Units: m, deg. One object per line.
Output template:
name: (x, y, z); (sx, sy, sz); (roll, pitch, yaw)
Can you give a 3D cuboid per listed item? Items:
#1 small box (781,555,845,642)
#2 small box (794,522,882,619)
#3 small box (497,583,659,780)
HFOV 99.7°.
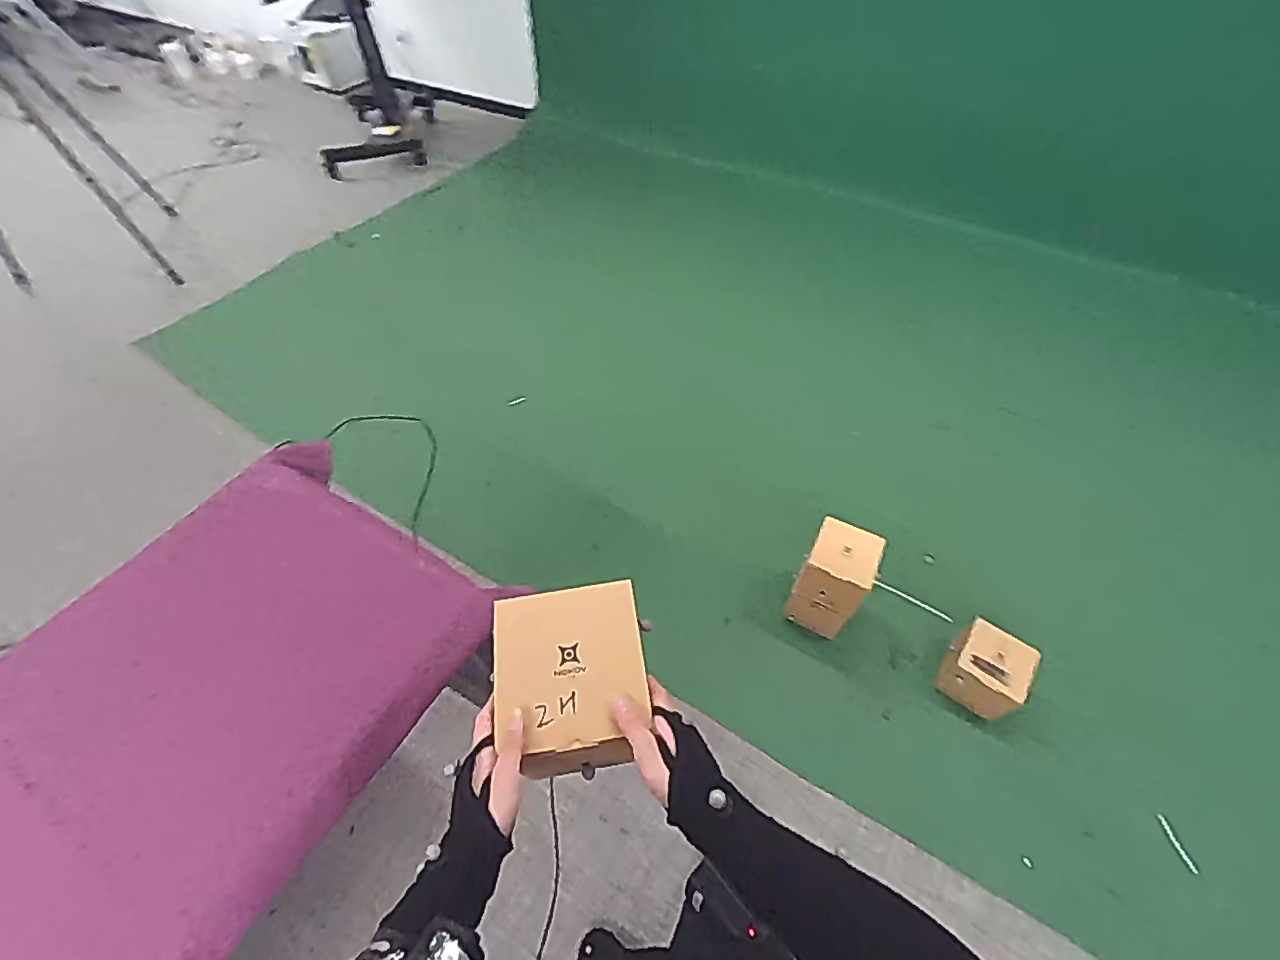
small box: (0.541, 0.359, 1.639); (0.168, 0.176, 0.179); (24, 55, 18)
small box: (0.548, 0.255, 1.514); (0.168, 0.176, 0.179); (23, 56, 17)
small box: (-0.071, 0.248, 0.659); (0.168, 0.176, 0.179); (-7, 55, -3)
